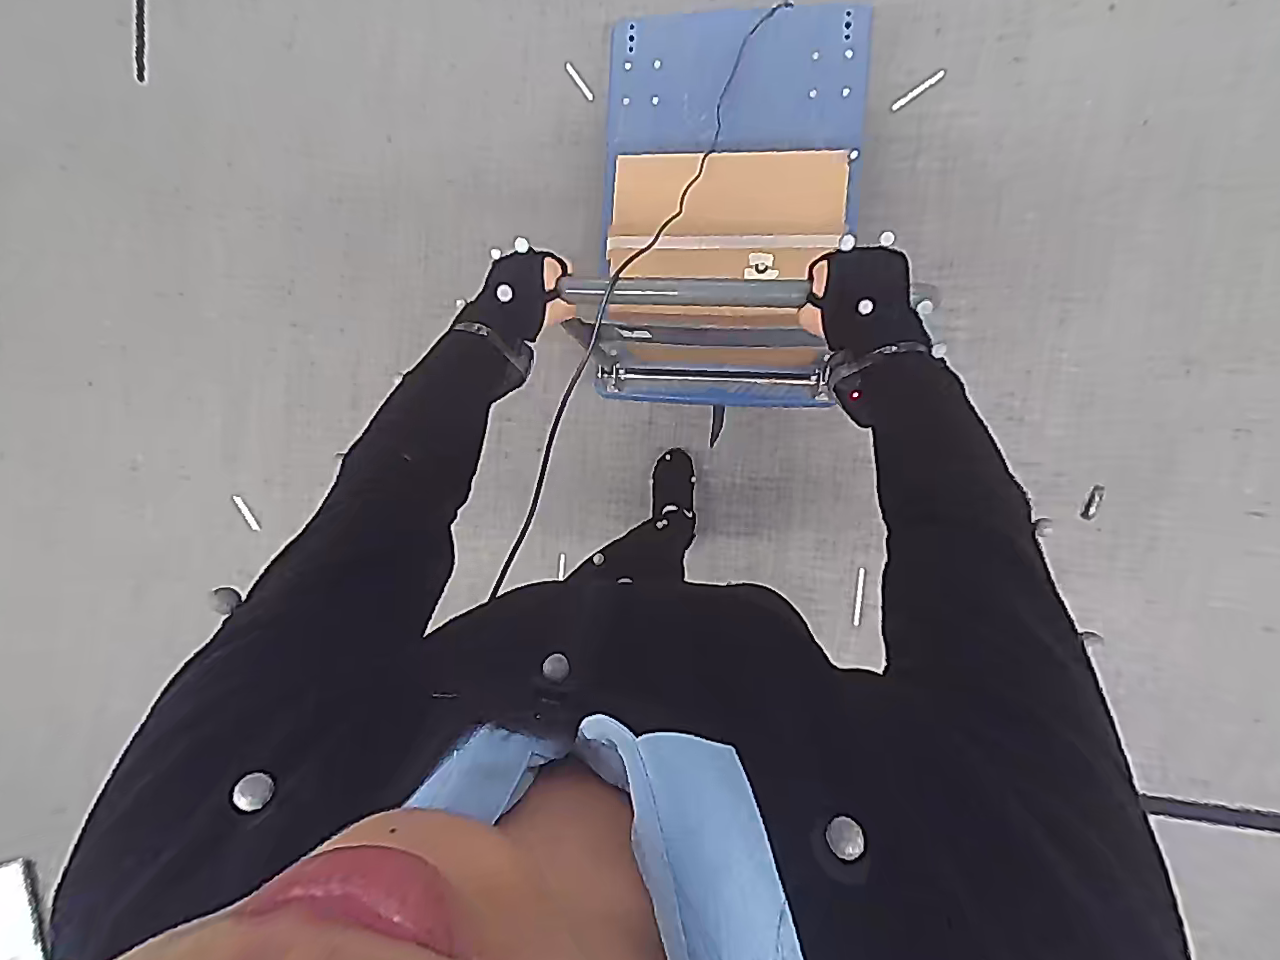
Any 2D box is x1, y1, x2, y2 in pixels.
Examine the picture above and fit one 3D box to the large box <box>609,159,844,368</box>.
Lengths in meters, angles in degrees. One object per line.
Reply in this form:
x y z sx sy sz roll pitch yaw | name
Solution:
0.162 -0.410 1.098 0.408 0.320 0.320 4 93 7 | large box
